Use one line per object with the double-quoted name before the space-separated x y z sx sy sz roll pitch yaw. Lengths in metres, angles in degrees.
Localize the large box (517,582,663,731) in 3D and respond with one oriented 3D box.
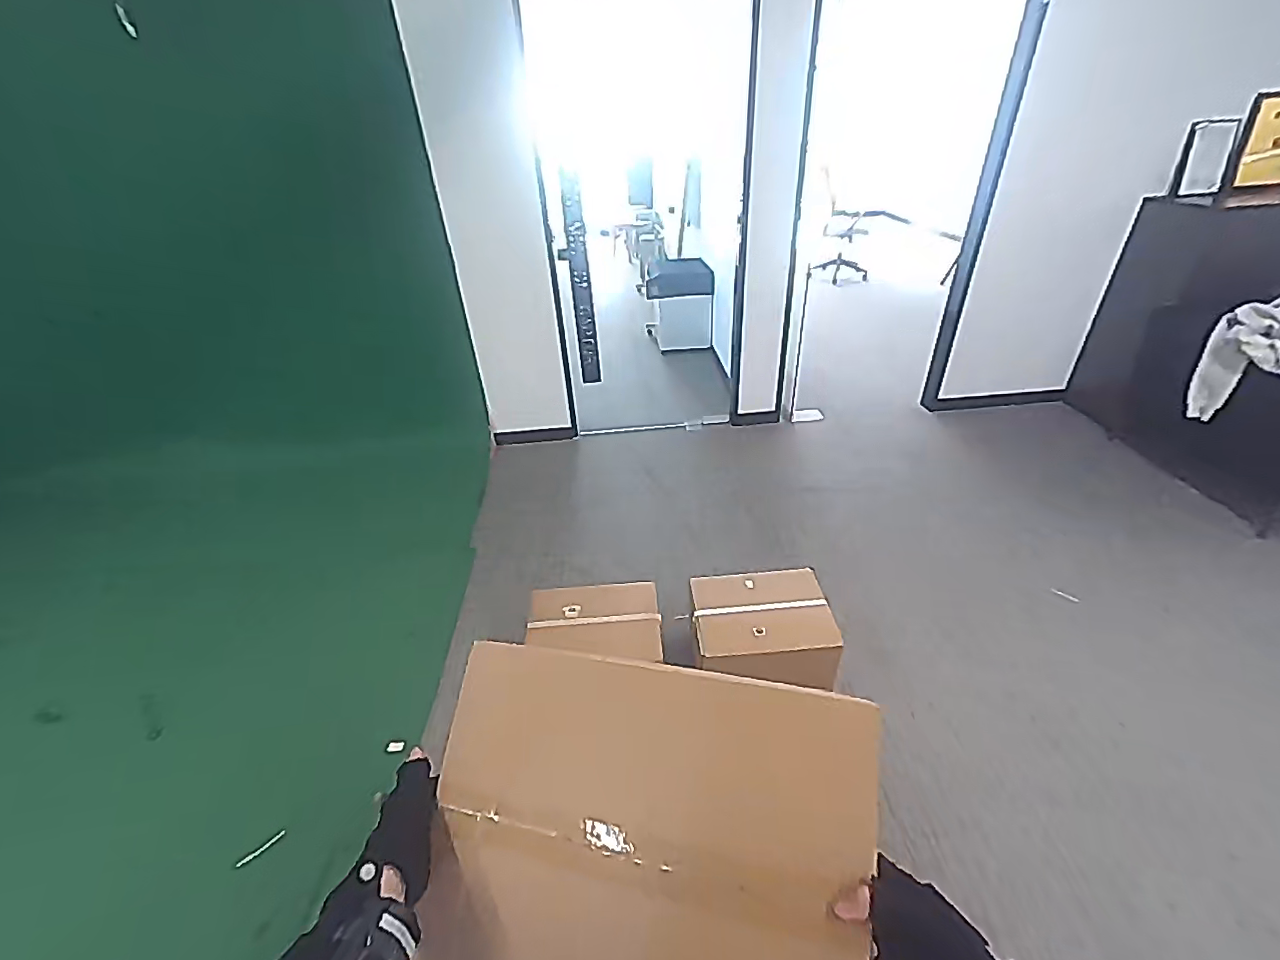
"large box" -0.144 0.557 1.711 0.408 0.320 0.320 -5 34 0
